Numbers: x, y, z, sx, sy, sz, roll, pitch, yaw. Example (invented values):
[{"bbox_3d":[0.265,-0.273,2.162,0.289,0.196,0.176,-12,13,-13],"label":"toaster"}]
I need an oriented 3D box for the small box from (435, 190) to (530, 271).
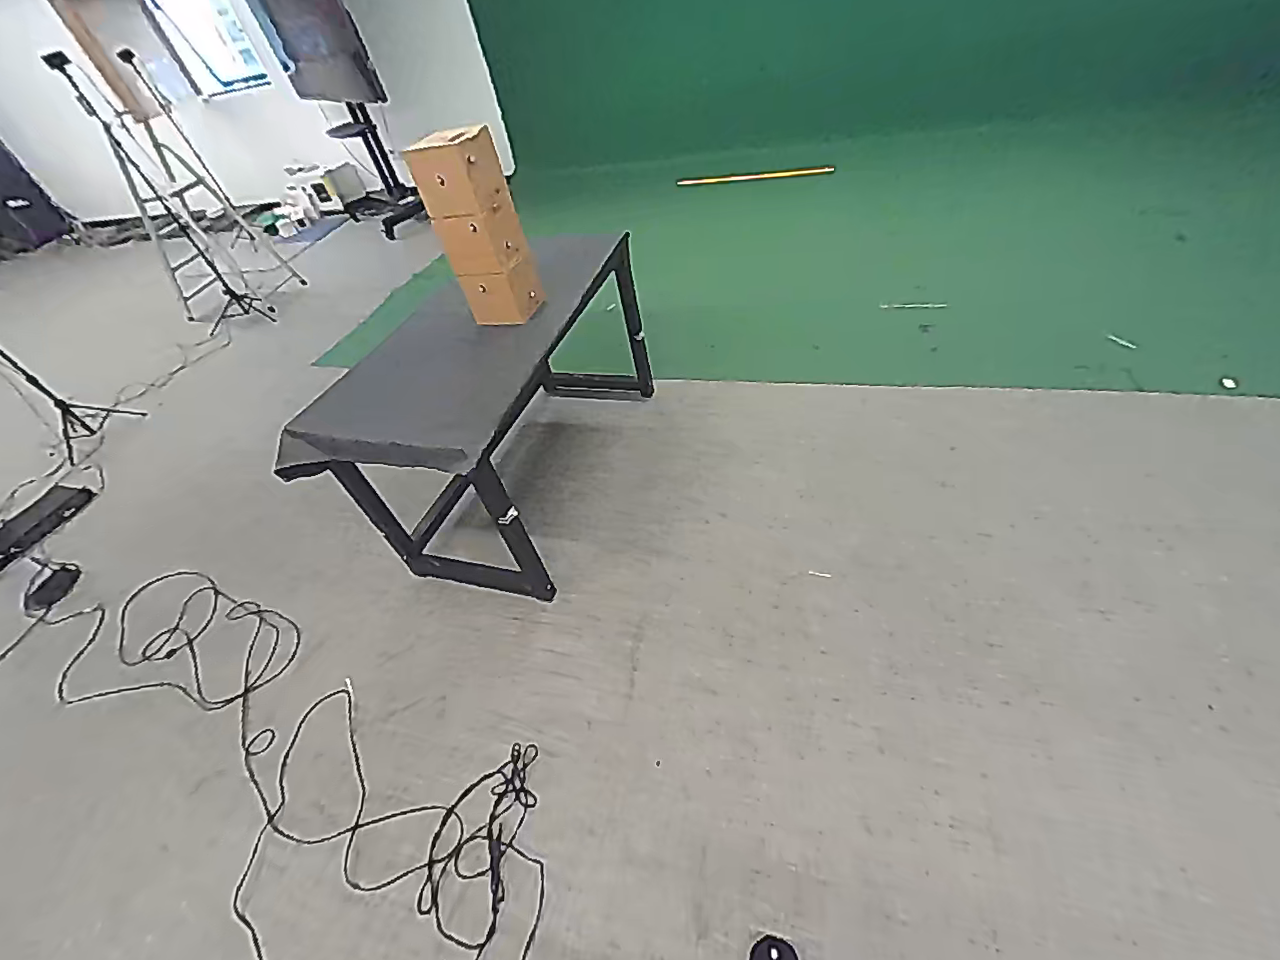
[{"bbox_3d":[-0.451,-0.721,1.570,0.179,0.176,0.168,7,47,19],"label":"small box"}]

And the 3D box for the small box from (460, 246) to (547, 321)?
[{"bbox_3d":[-0.417,-0.608,1.682,0.179,0.176,0.168,7,48,20],"label":"small box"}]
